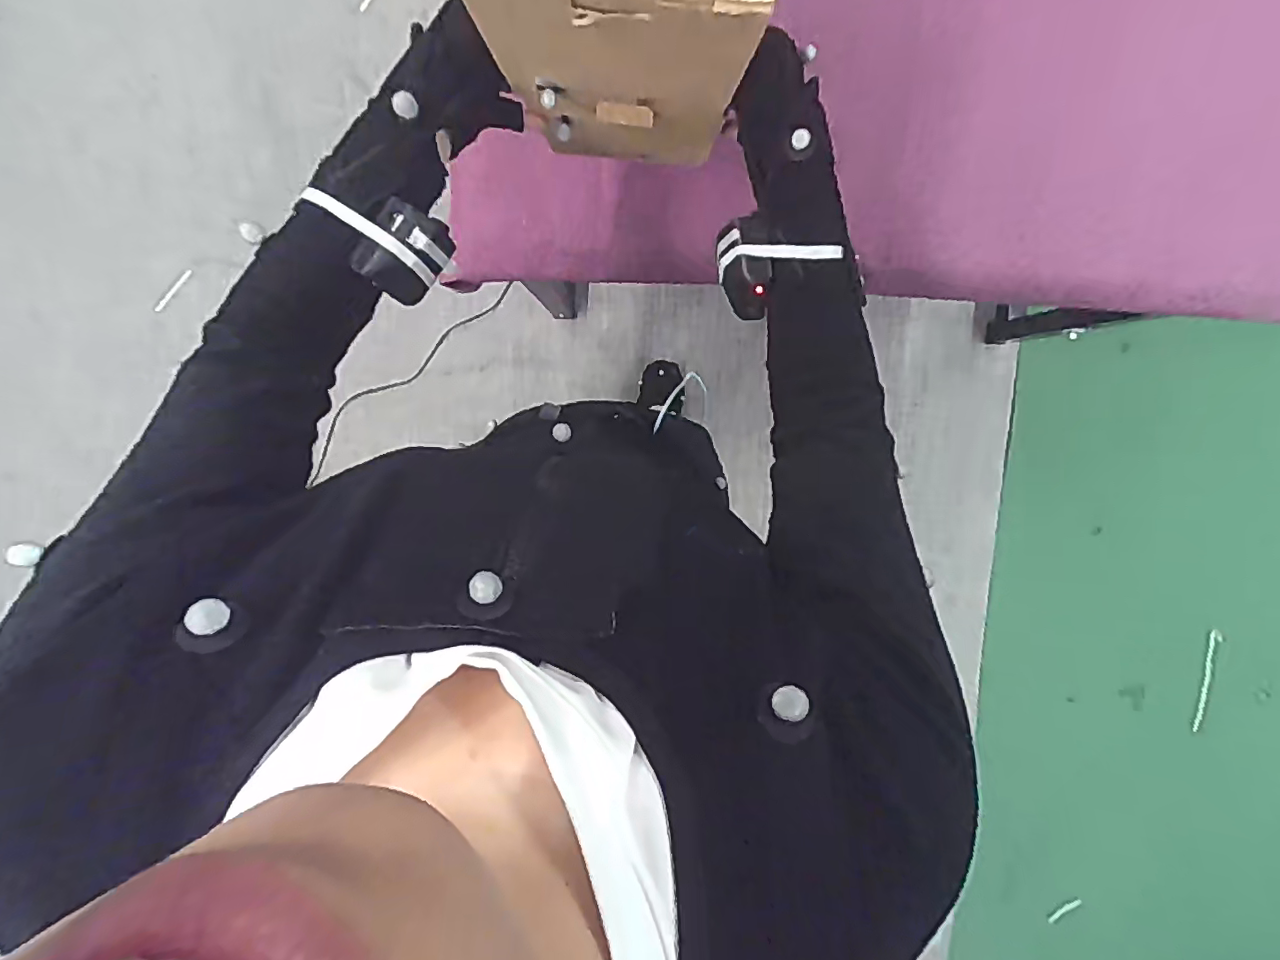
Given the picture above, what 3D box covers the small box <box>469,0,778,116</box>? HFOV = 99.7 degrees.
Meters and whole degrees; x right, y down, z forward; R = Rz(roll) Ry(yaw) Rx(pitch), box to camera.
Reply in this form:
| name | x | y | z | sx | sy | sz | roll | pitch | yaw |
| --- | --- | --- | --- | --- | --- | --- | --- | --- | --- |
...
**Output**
| name | x | y | z | sx | sy | sz | roll | pitch | yaw |
| --- | --- | --- | --- | --- | --- | --- | --- | --- | --- |
| small box | -0.002 | -0.344 | 0.316 | 0.168 | 0.176 | 0.179 | 7 | 109 | -6 |
